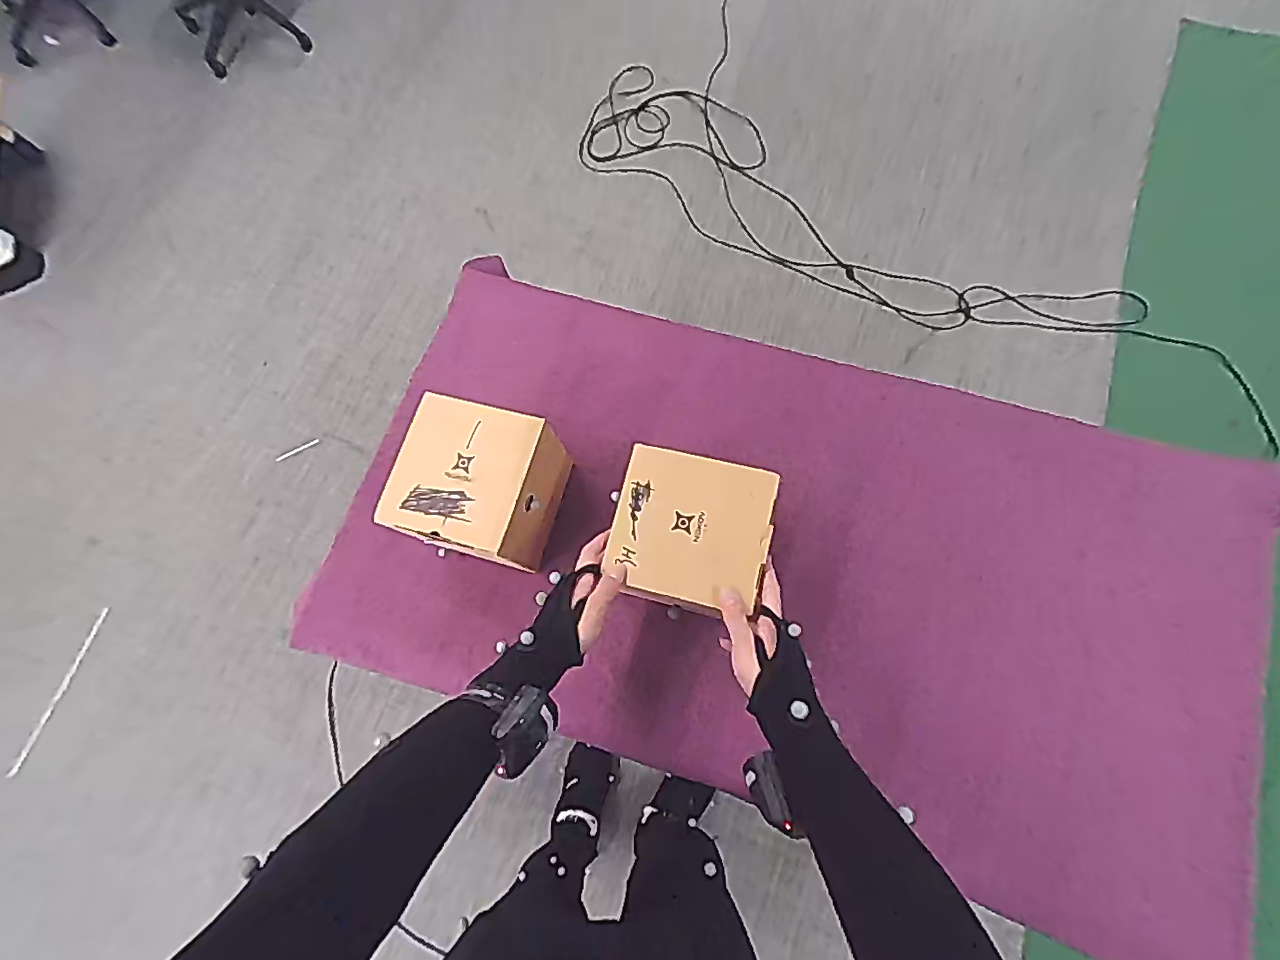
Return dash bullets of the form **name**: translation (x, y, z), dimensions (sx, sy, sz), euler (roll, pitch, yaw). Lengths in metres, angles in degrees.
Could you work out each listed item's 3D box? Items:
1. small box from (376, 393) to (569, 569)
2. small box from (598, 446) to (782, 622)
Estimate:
- **small box**: translation (-0.208, 0.011, 0.727), dimensions (0.168, 0.176, 0.179), euler (14, 74, 9)
- **small box**: translation (0.064, 0.076, 0.683), dimensions (0.179, 0.176, 0.168), euler (14, 75, 9)
